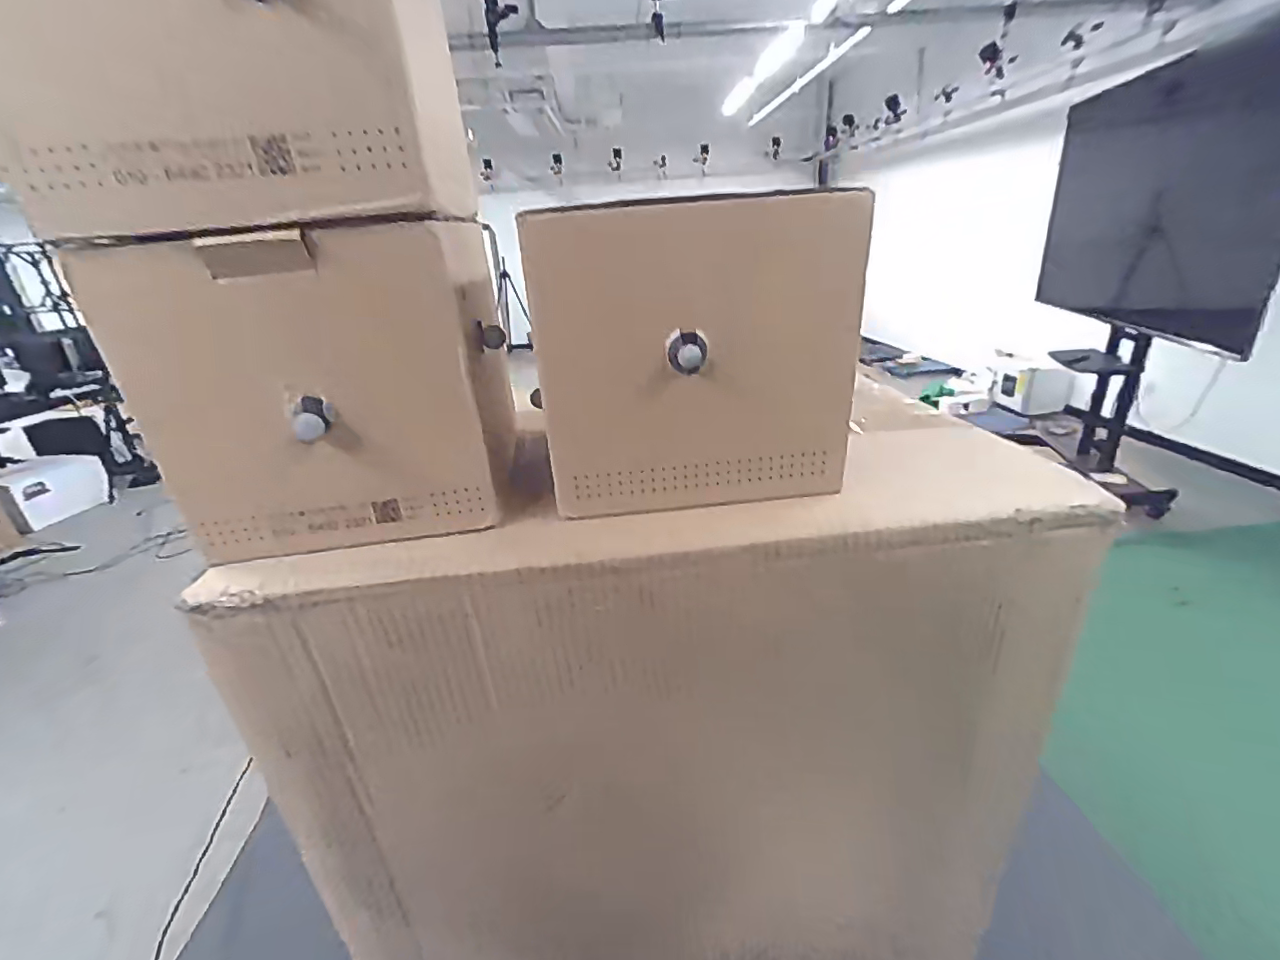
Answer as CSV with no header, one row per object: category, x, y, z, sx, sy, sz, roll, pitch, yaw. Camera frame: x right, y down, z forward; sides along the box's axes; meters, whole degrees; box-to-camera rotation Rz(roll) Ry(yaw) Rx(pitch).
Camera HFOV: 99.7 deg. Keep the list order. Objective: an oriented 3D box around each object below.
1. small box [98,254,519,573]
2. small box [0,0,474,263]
small box,-0.181,-0.051,0.370,0.168,0.176,0.179,-9,25,-7
small box,-0.194,-0.213,0.289,0.168,0.176,0.179,-7,24,-6
